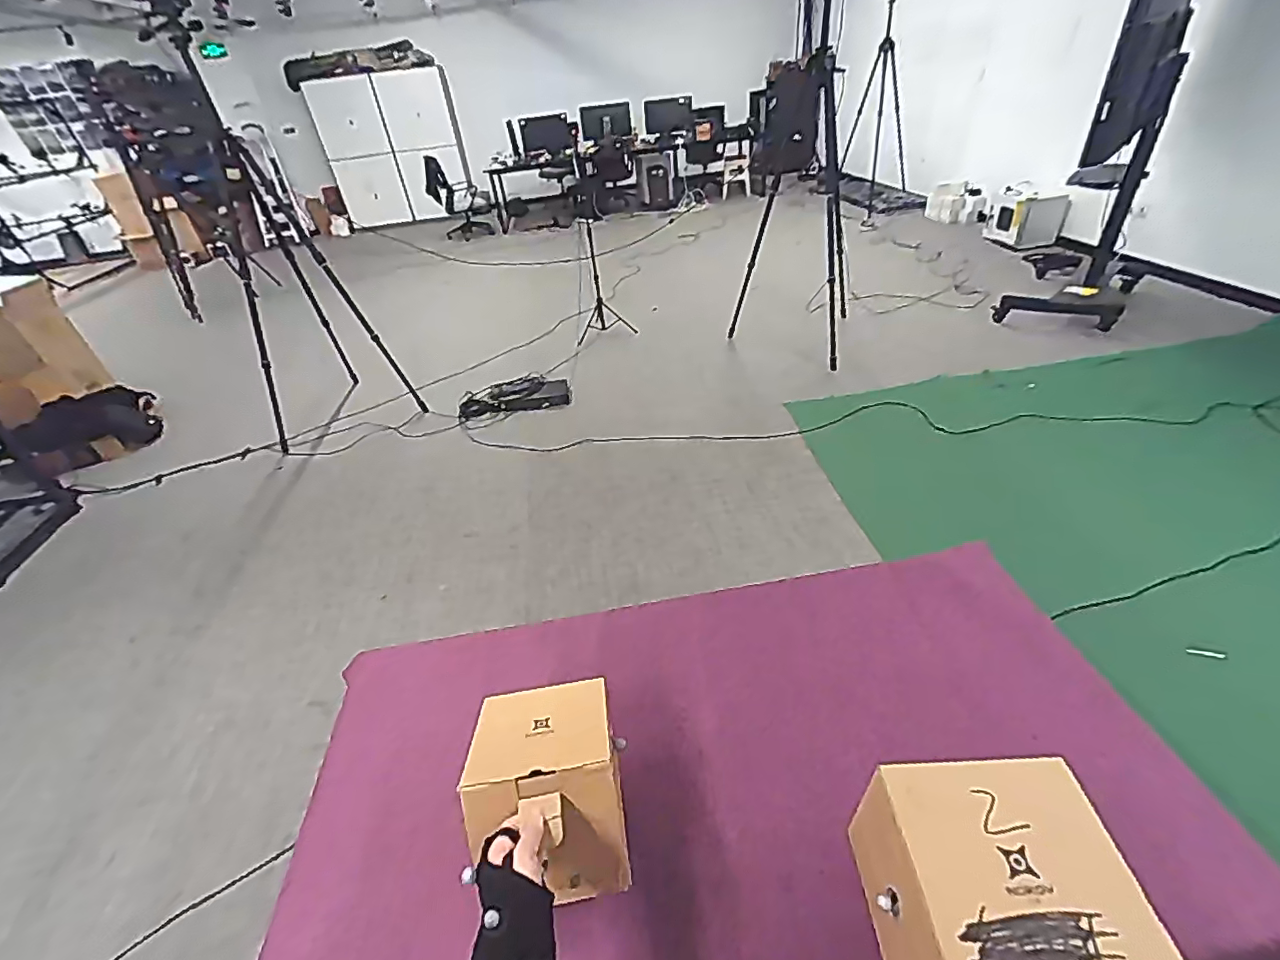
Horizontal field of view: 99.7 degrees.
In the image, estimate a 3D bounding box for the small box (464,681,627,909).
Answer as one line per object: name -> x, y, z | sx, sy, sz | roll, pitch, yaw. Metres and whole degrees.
small box -> -0.111, 0.388, 0.689 | 0.168, 0.176, 0.179 | -8, 11, -4
